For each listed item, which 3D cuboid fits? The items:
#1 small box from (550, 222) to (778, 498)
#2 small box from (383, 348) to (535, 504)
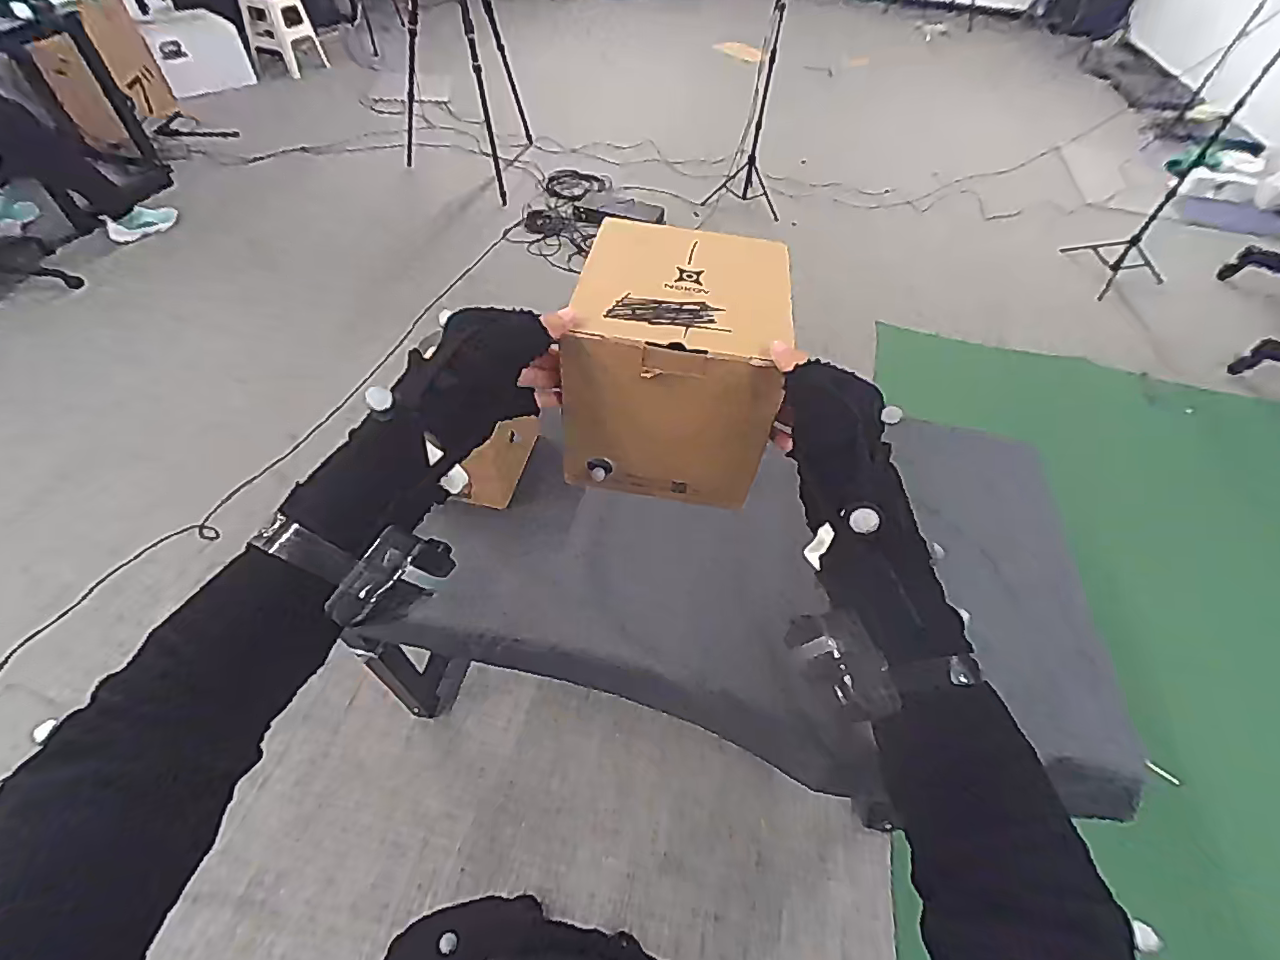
[{"bbox_3d":[0.024,-0.105,0.491,0.168,0.176,0.179,9,50,2],"label":"small box"},{"bbox_3d":[-0.277,-0.084,0.880,0.168,0.176,0.179,10,52,4],"label":"small box"}]
